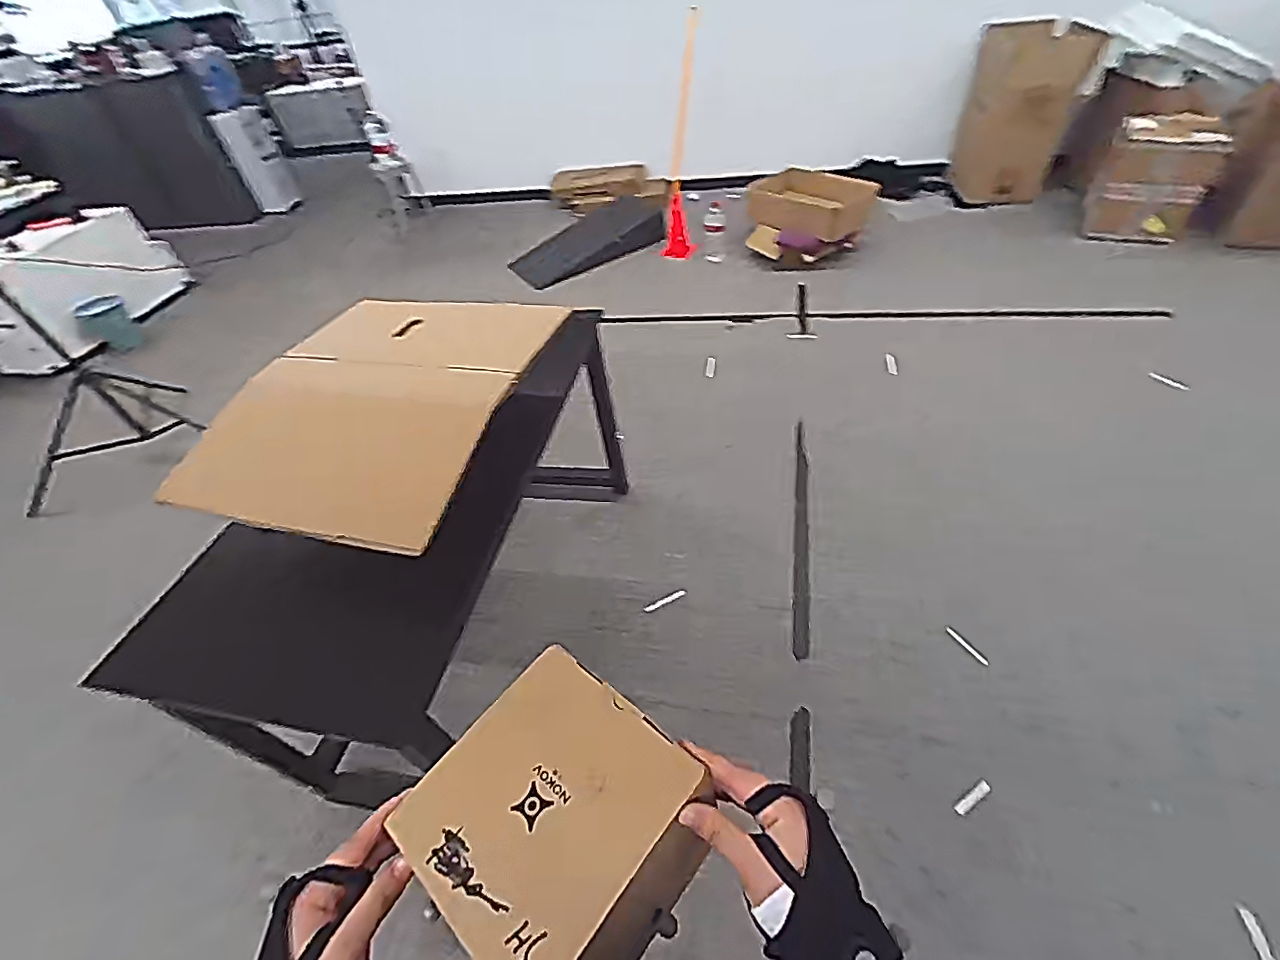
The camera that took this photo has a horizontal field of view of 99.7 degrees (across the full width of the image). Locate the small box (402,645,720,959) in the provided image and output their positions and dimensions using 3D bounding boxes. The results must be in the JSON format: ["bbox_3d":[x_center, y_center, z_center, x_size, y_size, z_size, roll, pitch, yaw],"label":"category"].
[{"bbox_3d":[-0.049,0.281,0.444,0.168,0.176,0.179,27,56,35],"label":"small box"}]
